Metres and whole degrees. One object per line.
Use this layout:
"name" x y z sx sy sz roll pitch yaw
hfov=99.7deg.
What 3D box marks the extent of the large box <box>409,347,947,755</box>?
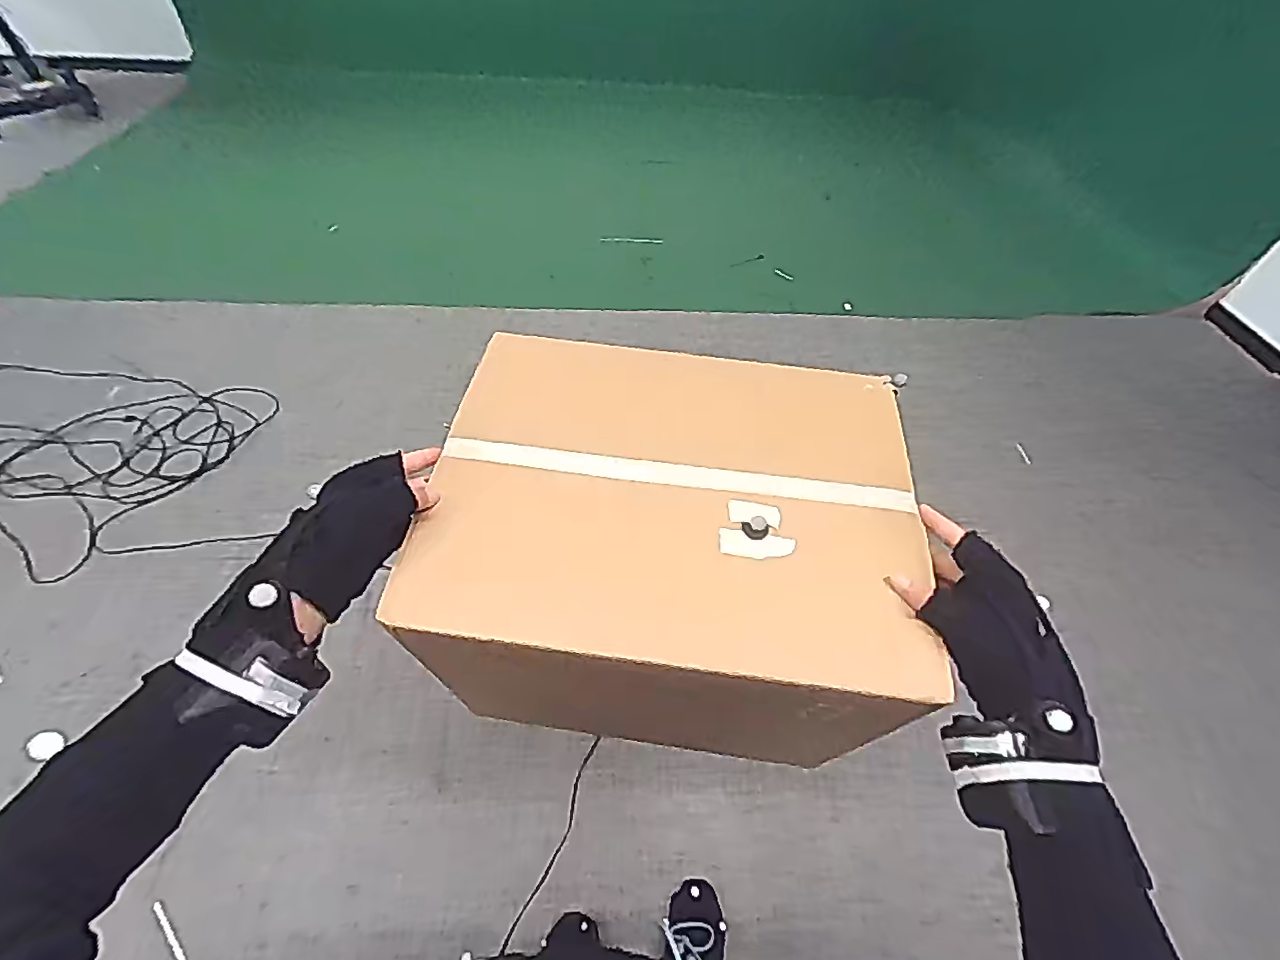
"large box" 0.032 0.090 0.597 0.408 0.320 0.320 7 55 2
